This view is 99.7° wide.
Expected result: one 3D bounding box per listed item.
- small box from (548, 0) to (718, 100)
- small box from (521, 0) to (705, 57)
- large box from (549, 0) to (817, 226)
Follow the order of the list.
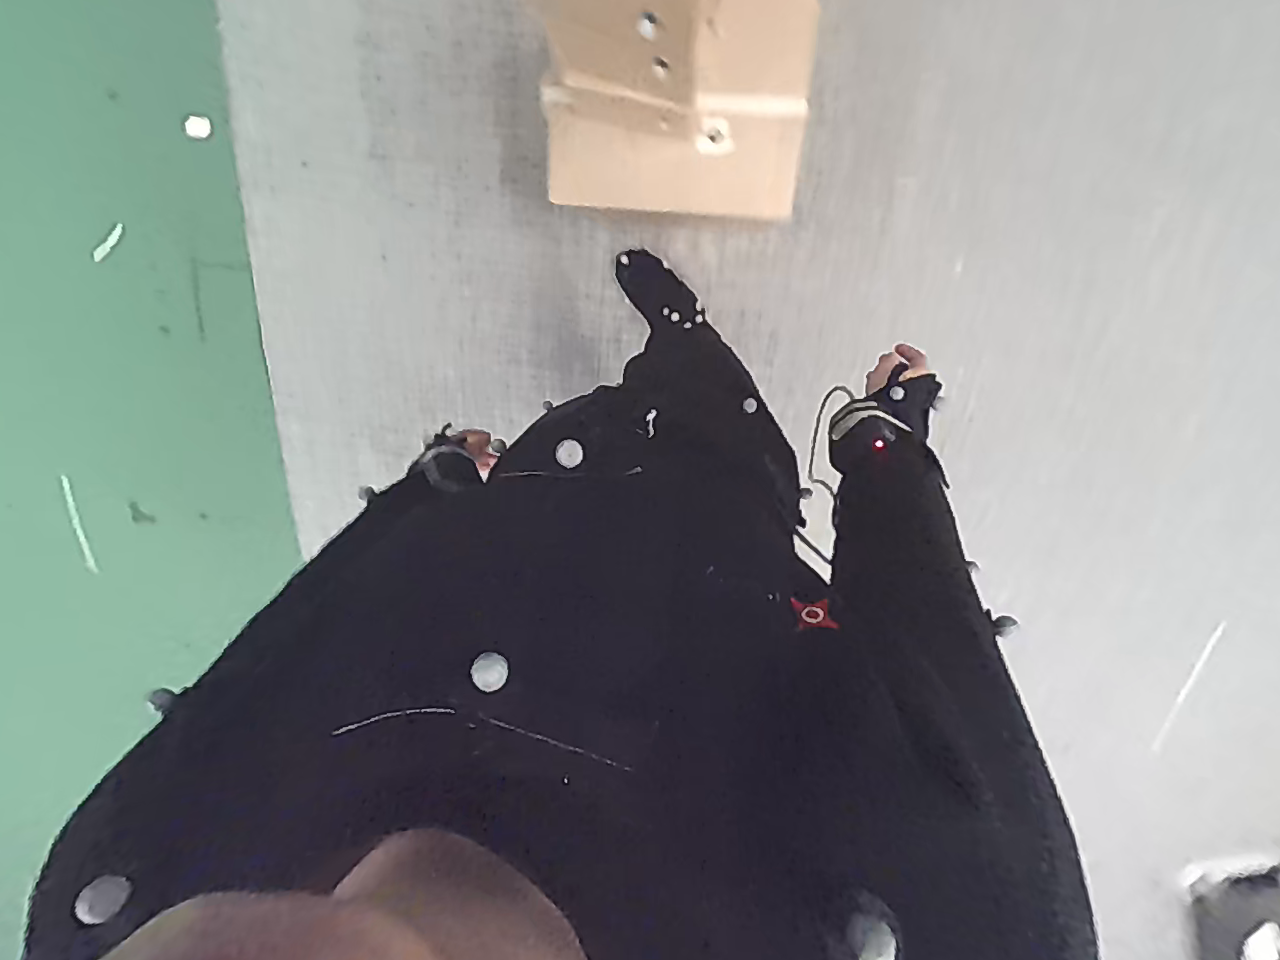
[{"bbox_3d":[-0.003,-0.547,0.588,0.179,0.176,0.168,14,111,-3],"label":"small box"},{"bbox_3d":[-0.015,-0.484,0.438,0.179,0.176,0.168,15,110,-2],"label":"small box"},{"bbox_3d":[0.062,-0.647,0.981,0.408,0.320,0.320,3,112,2],"label":"large box"}]
